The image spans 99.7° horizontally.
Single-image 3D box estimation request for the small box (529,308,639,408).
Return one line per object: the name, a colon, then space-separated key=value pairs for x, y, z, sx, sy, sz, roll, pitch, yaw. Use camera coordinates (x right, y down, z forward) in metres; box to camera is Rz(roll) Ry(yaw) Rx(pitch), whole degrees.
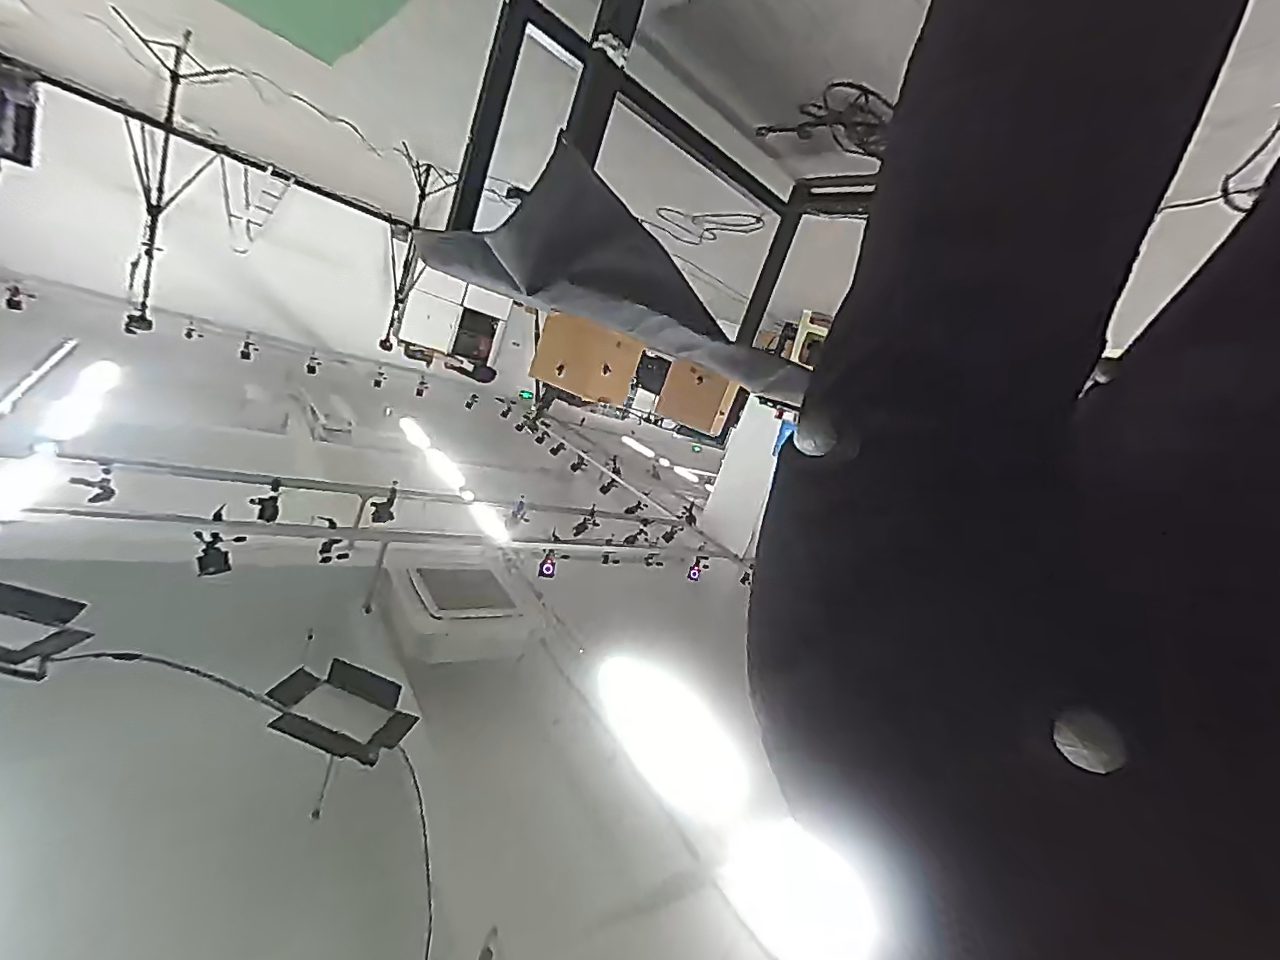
small box: x=-0.122 y=-0.284 z=1.258 sx=0.179 sy=0.176 sz=0.168 roll=28 pitch=-167 yaw=29
